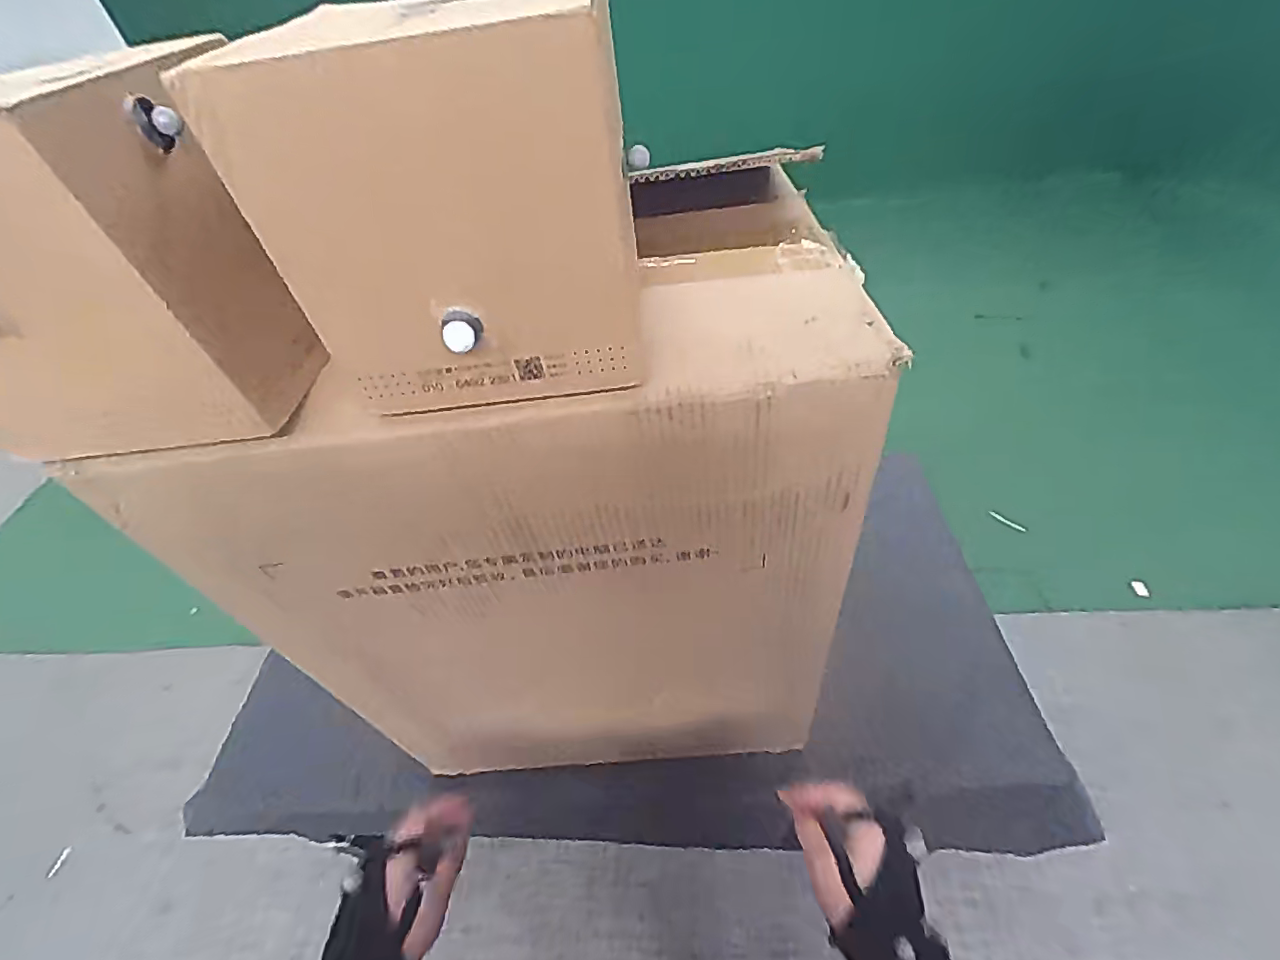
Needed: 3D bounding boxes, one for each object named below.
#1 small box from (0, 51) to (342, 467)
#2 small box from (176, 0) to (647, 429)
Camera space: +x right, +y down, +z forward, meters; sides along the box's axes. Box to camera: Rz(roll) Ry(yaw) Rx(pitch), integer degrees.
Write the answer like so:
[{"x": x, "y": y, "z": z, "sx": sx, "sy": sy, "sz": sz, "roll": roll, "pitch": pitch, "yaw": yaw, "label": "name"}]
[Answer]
[{"x": -0.305, "y": -0.122, "z": 0.320, "sx": 0.179, "sy": 0.176, "sz": 0.168, "roll": -6, "pitch": 47, "yaw": 5, "label": "small box"}, {"x": -0.086, "y": -0.151, "z": 0.310, "sx": 0.168, "sy": 0.176, "sz": 0.179, "roll": -5, "pitch": 48, "yaw": 4, "label": "small box"}]
